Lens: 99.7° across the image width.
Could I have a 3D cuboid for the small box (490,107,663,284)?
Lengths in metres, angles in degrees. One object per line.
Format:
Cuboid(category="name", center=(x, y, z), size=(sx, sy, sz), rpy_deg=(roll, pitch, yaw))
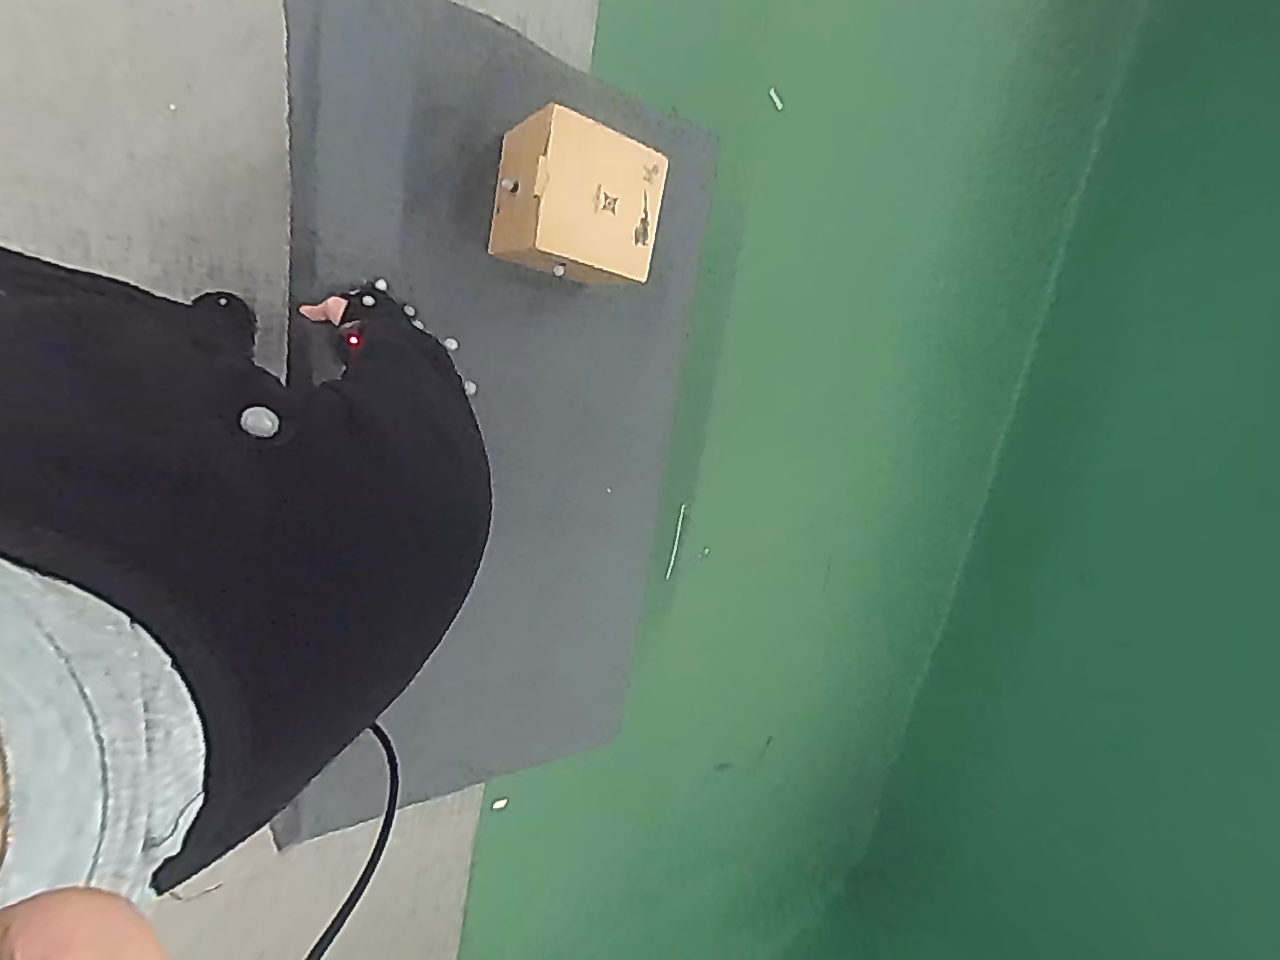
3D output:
Cuboid(category="small box", center=(-0.097, -0.378, 0.760), size=(0.179, 0.176, 0.168), rpy_deg=(3, 104, -35))
